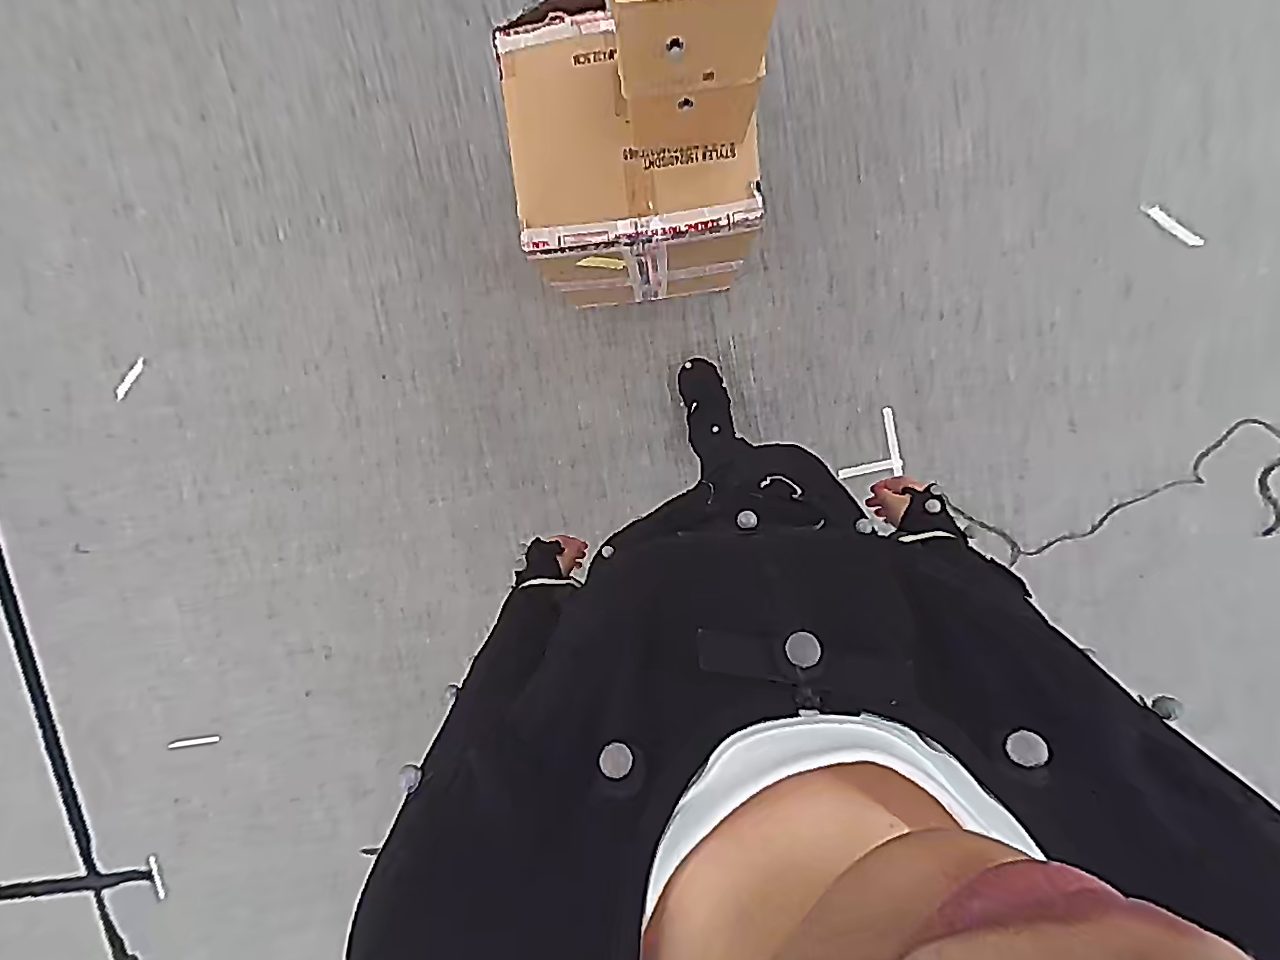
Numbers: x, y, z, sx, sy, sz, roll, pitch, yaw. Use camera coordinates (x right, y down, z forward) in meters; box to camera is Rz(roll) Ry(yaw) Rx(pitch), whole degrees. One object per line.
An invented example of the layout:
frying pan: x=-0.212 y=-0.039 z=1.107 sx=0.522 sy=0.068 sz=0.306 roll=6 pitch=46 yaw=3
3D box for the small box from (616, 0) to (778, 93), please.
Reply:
small box: x=0.055 y=-0.553 z=0.582 sx=0.168 sy=0.176 sz=0.179 roll=-6 pitch=97 yaw=3

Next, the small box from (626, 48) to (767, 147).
small box: x=0.070 y=-0.582 z=0.741 sx=0.179 sy=0.176 sz=0.168 roll=-3 pitch=98 yaw=2
